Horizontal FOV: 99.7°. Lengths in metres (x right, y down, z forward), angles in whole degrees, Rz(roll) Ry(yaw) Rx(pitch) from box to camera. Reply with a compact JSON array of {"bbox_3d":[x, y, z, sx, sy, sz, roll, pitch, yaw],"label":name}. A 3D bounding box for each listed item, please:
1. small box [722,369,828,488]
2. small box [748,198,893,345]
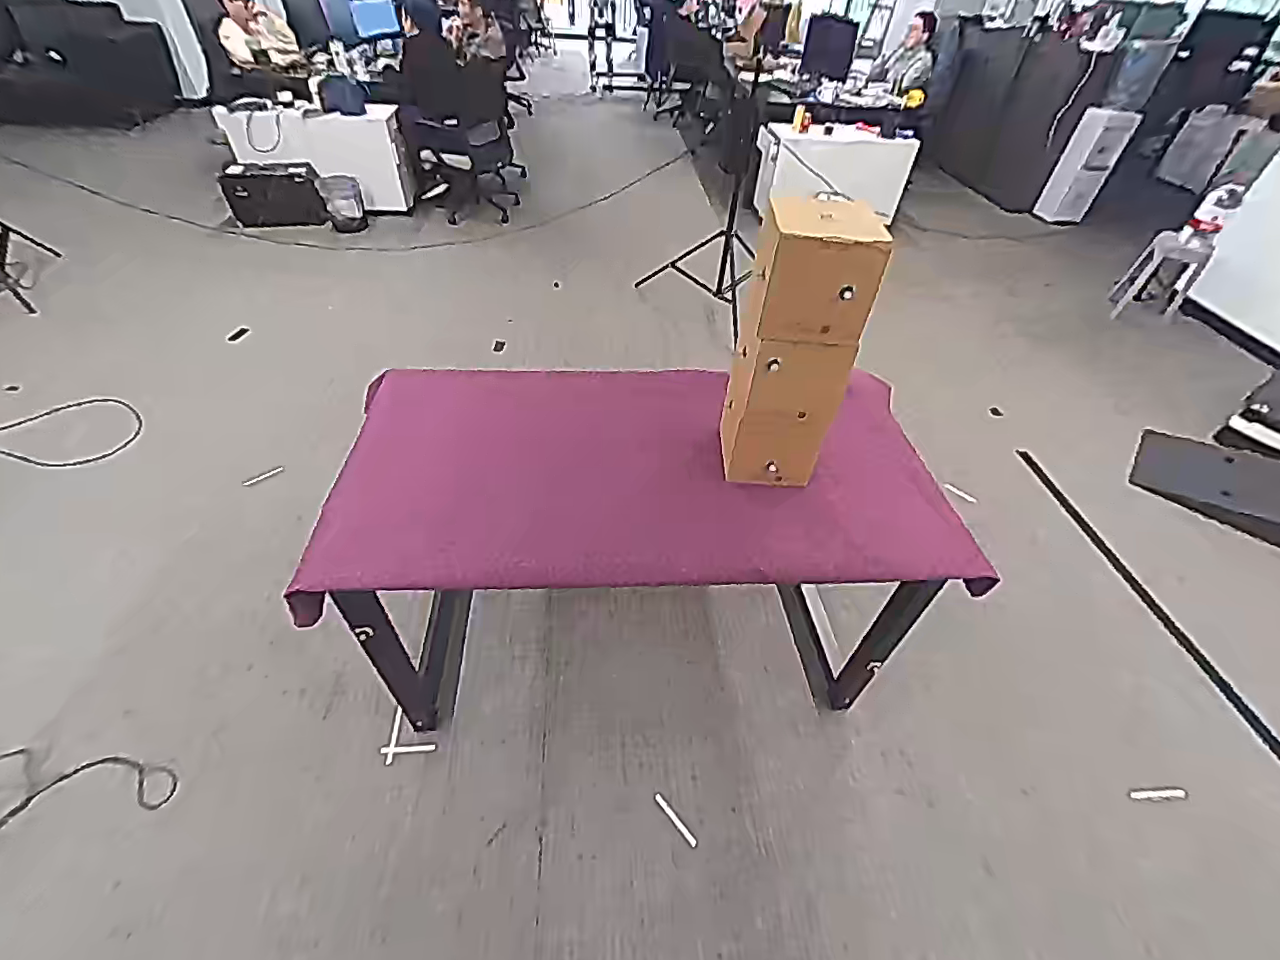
[{"bbox_3d":[0.264,-0.106,1.106,0.168,0.176,0.179,3,45,0],"label":"small box"},{"bbox_3d":[0.276,-0.334,0.872,0.168,0.176,0.179,5,43,0],"label":"small box"}]
